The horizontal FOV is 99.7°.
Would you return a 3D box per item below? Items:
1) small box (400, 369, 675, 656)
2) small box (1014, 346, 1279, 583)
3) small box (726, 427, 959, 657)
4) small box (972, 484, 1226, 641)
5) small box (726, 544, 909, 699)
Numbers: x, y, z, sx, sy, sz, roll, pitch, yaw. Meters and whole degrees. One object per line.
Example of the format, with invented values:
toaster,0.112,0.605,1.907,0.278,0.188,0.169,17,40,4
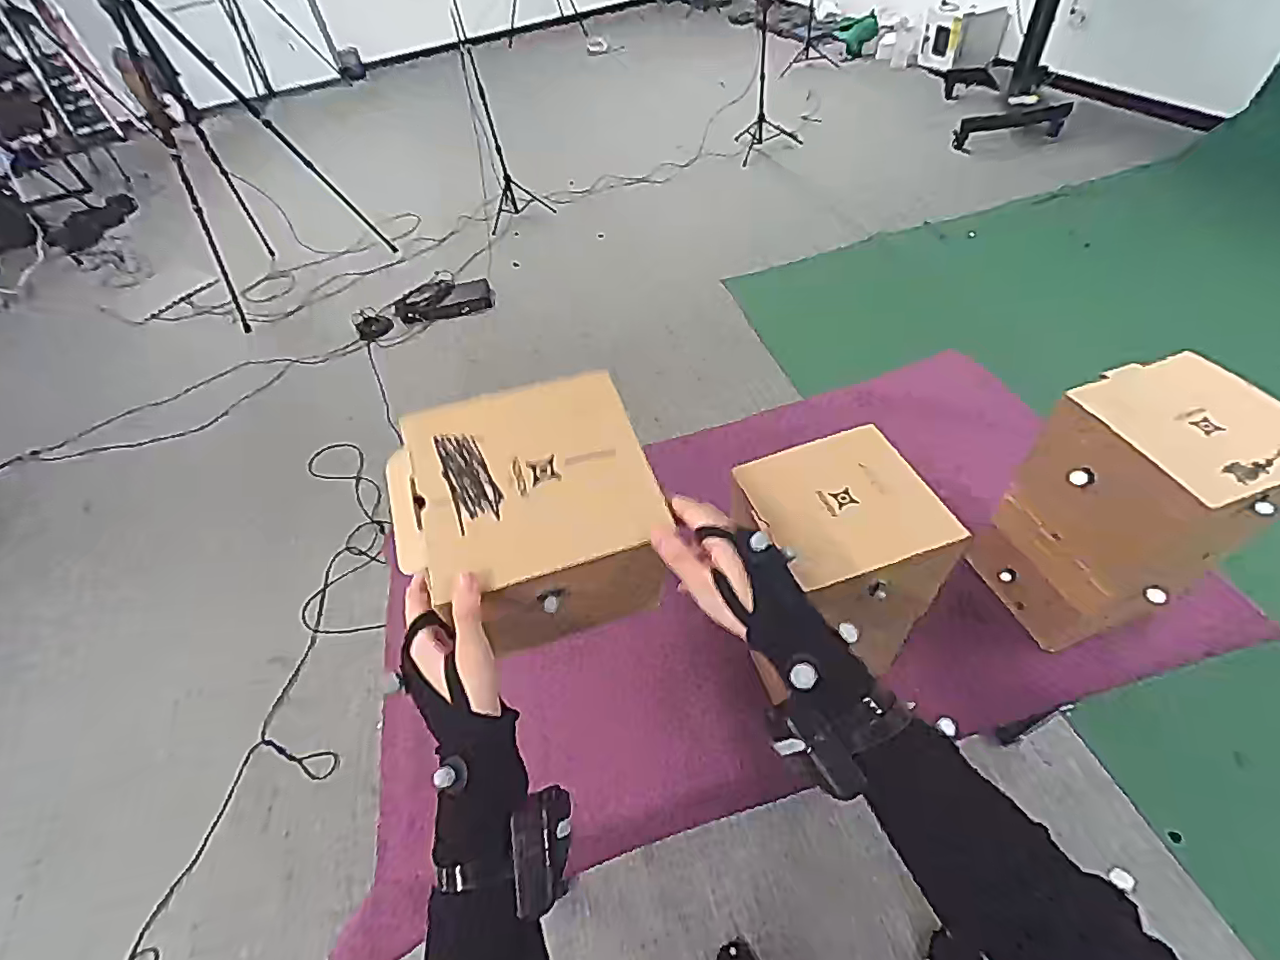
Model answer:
small box,-0.084,0.036,0.474,0.179,0.176,0.168,-17,62,-12
small box,0.575,-0.016,0.611,0.168,0.176,0.179,-20,50,-3
small box,0.210,0.074,0.611,0.179,0.176,0.168,-18,50,-4
small box,0.599,0.090,0.735,0.179,0.176,0.168,-20,50,-4
small box,0.228,0.177,0.736,0.168,0.176,0.179,-18,48,-4
